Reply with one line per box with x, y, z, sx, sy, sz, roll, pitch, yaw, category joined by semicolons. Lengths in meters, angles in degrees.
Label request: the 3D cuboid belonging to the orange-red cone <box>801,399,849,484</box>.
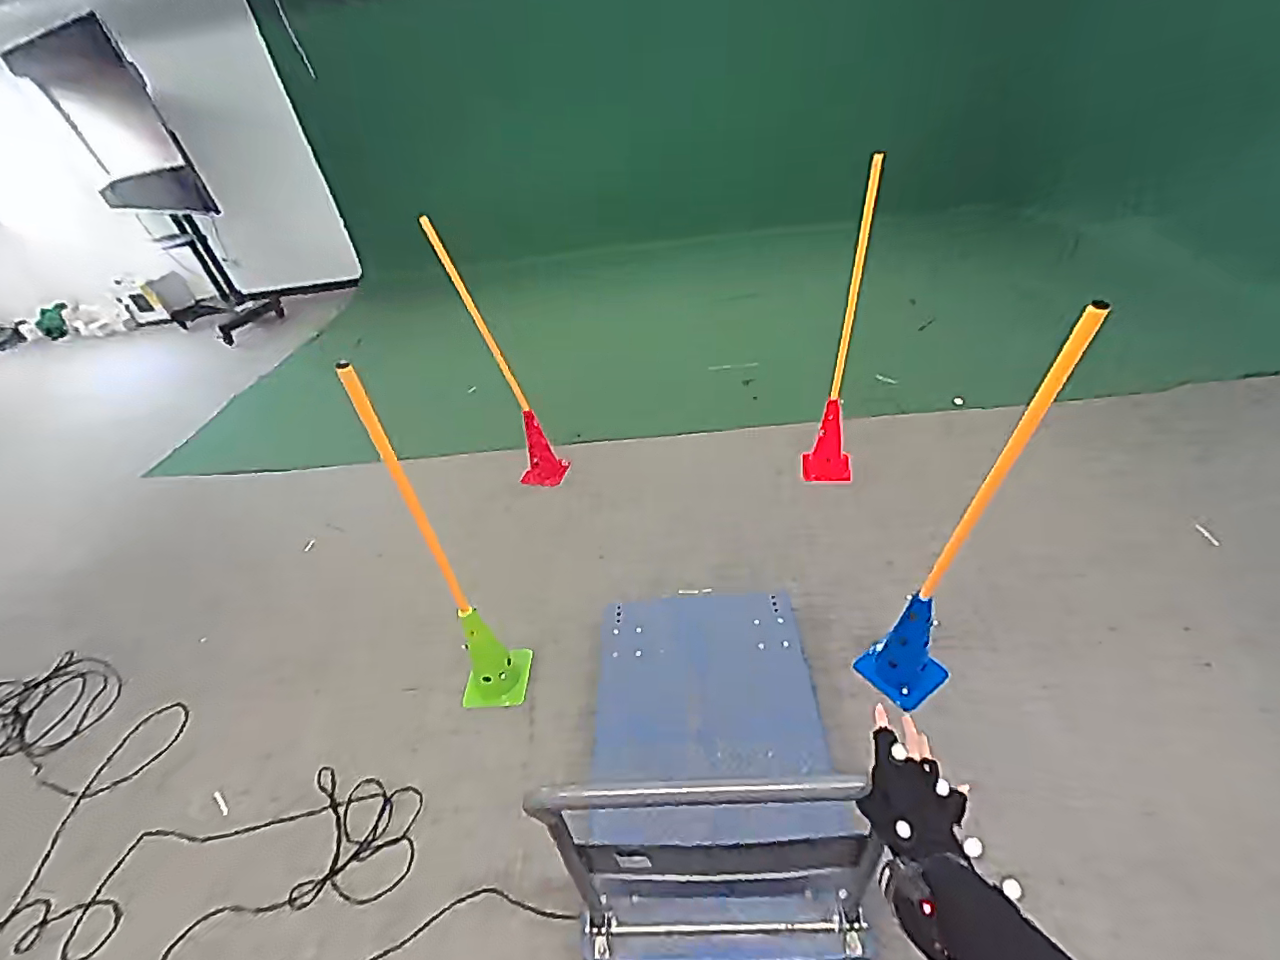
0.787;-0.176;2.268;0.198;0.360;0.199;2;40;15;orange-red cone
